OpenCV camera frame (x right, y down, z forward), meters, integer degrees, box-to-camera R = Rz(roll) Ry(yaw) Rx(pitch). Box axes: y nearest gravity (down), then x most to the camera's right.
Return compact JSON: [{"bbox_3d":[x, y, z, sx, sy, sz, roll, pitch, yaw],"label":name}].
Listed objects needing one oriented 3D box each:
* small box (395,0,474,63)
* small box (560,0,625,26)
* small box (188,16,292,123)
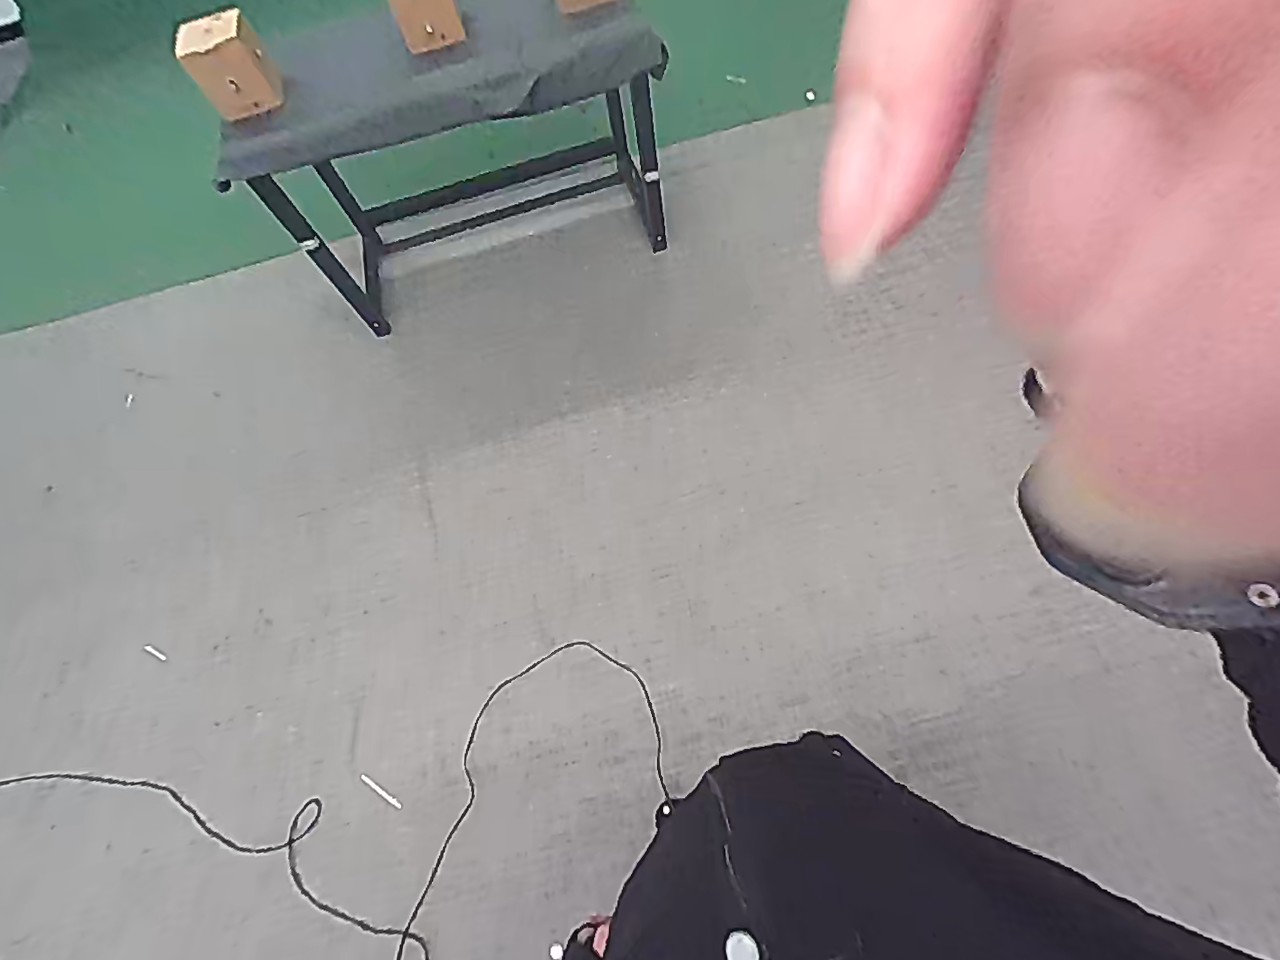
[{"bbox_3d":[-0.587,-1.334,1.533,0.168,0.176,0.179,-17,64,-1],"label":"small box"},{"bbox_3d":[-0.149,-1.425,1.522,0.179,0.176,0.168,-14,64,-1],"label":"small box"},{"bbox_3d":[-1.097,-1.126,1.496,0.168,0.176,0.179,-18,64,-2],"label":"small box"}]
